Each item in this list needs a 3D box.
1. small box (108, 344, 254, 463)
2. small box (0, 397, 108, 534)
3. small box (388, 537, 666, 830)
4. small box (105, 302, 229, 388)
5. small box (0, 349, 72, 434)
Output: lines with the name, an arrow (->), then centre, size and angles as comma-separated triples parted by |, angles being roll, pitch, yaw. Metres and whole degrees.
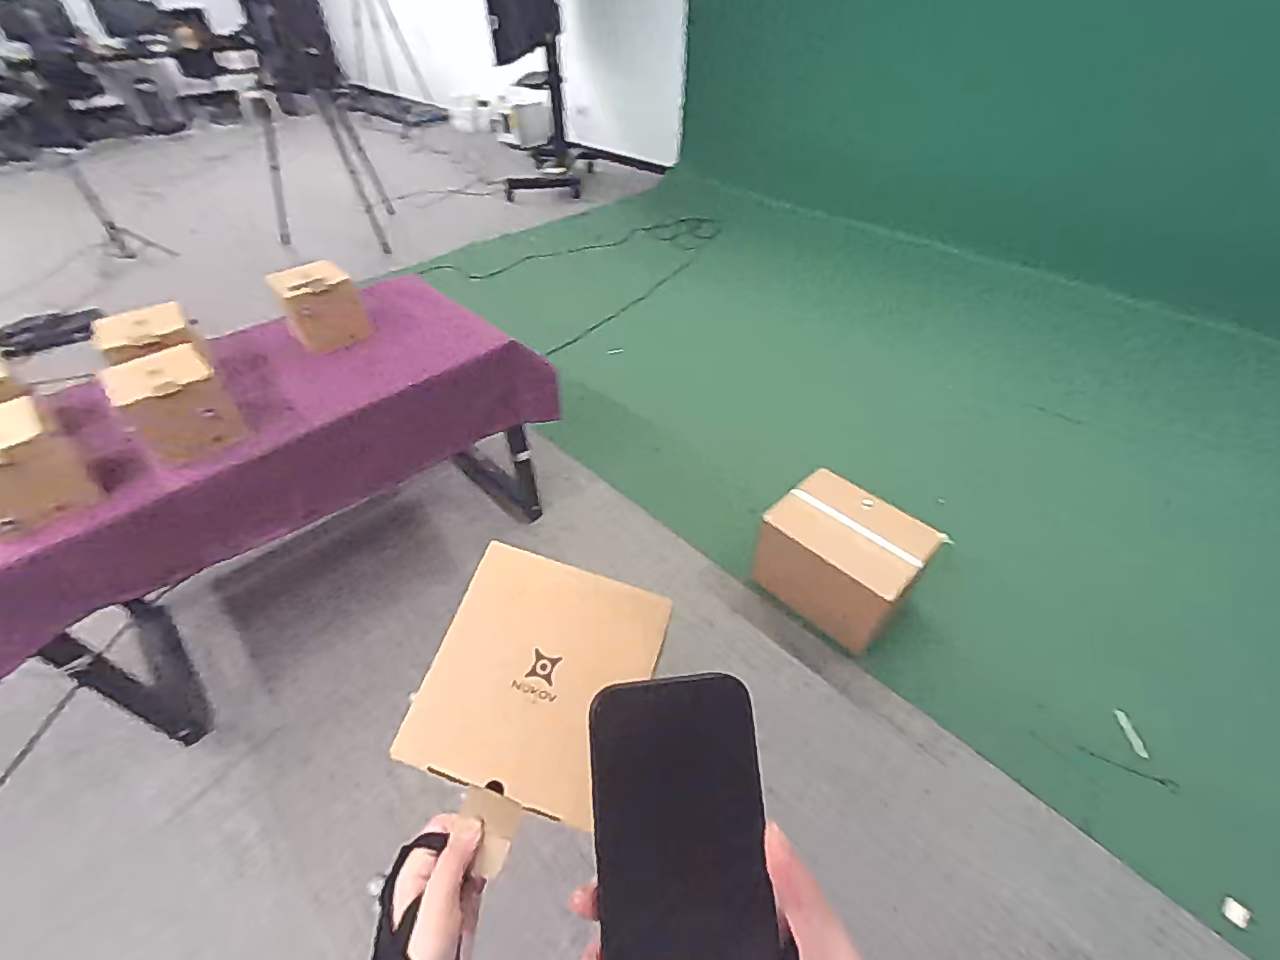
small box -> -0.974, -0.159, 1.160 | 0.168, 0.176, 0.179 | -34, 52, -30
small box -> -1.168, -0.022, 1.022 | 0.179, 0.176, 0.168 | 33, 53, 32
small box -> -0.084, 0.178, 0.489 | 0.168, 0.176, 0.179 | 17, 67, 7
small box -> -1.135, -0.299, 1.304 | 0.168, 0.176, 0.179 | -29, 51, -25
small box -> -1.381, -0.146, 1.153 | 0.179, 0.176, 0.168 | 32, 53, 28
